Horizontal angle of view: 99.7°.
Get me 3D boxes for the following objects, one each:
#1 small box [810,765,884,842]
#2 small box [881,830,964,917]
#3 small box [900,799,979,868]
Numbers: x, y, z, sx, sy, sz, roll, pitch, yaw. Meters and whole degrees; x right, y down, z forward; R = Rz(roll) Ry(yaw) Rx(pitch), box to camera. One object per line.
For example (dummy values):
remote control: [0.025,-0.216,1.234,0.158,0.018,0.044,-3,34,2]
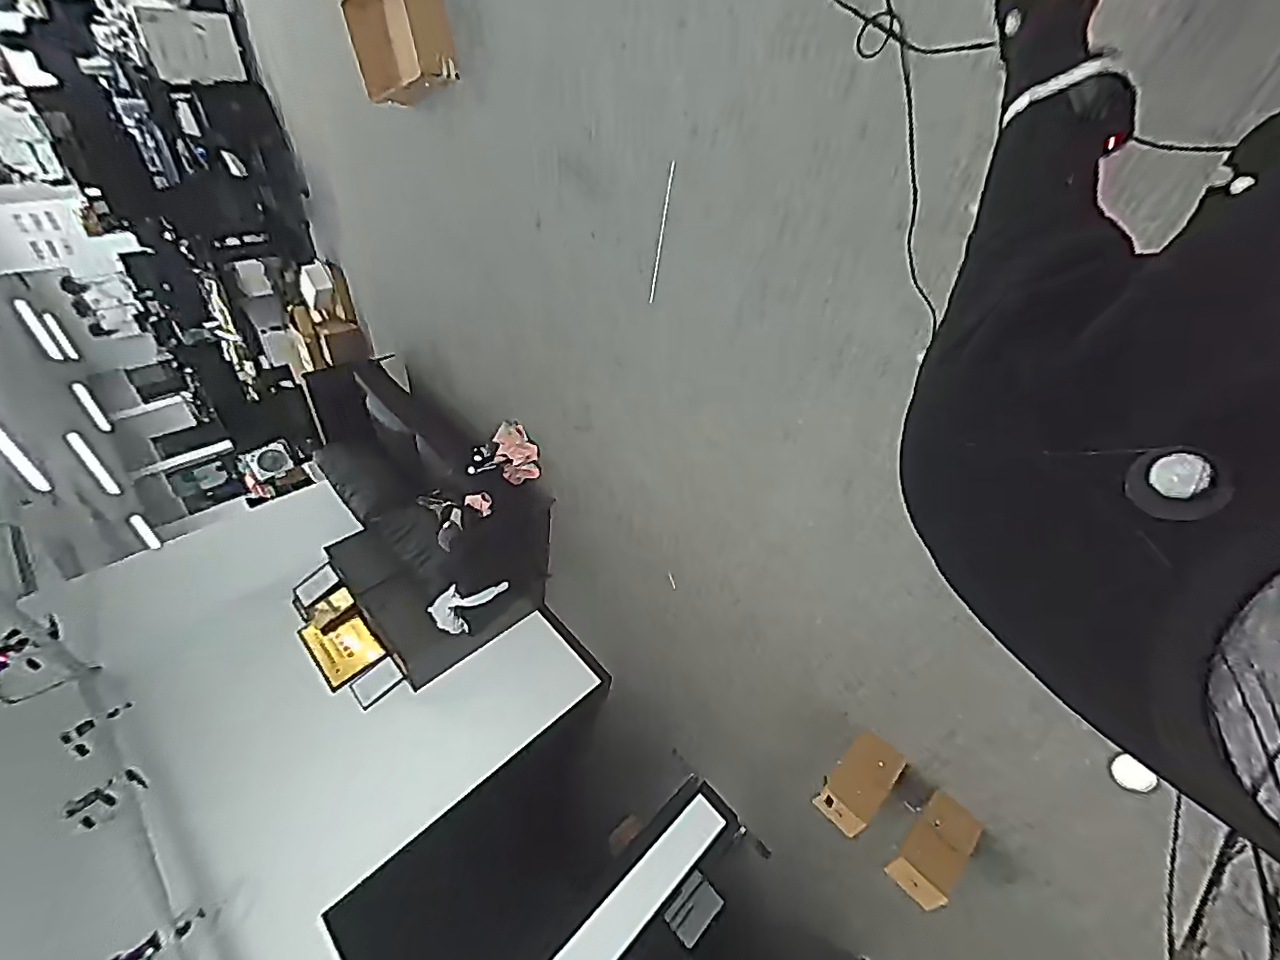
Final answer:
small box: [0.792,1.228,2.068,0.179,0.176,0.168,38,139,28]
small box: [1.003,1.387,1.919,0.179,0.176,0.168,37,138,29]
small box: [1.120,1.332,2.020,0.179,0.176,0.168,37,138,29]
